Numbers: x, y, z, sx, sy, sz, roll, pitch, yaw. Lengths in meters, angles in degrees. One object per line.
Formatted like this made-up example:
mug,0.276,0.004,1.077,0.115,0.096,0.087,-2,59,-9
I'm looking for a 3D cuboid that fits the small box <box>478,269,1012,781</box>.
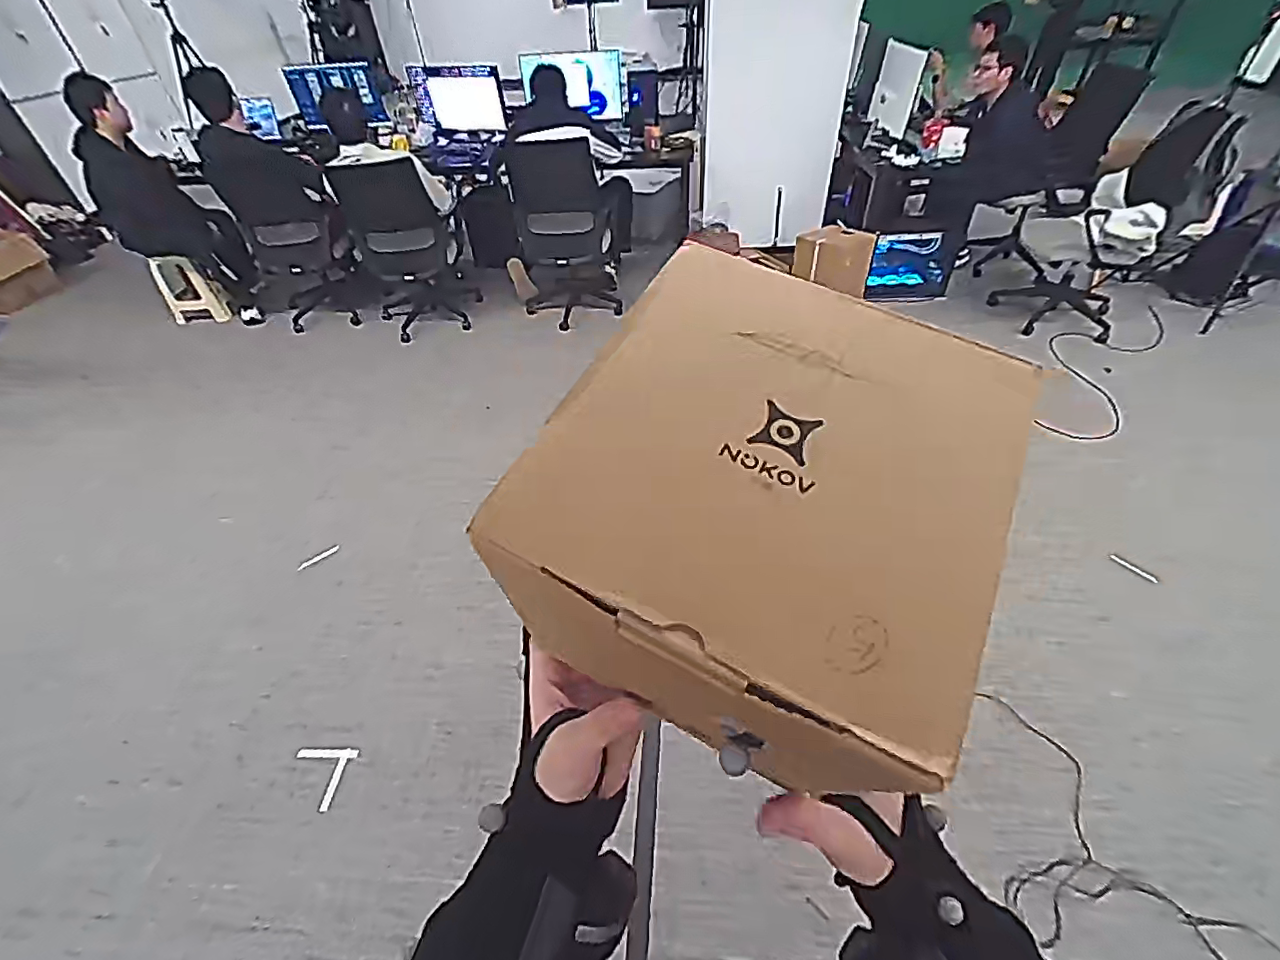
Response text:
small box,0.050,0.032,0.285,0.168,0.176,0.179,25,62,13
